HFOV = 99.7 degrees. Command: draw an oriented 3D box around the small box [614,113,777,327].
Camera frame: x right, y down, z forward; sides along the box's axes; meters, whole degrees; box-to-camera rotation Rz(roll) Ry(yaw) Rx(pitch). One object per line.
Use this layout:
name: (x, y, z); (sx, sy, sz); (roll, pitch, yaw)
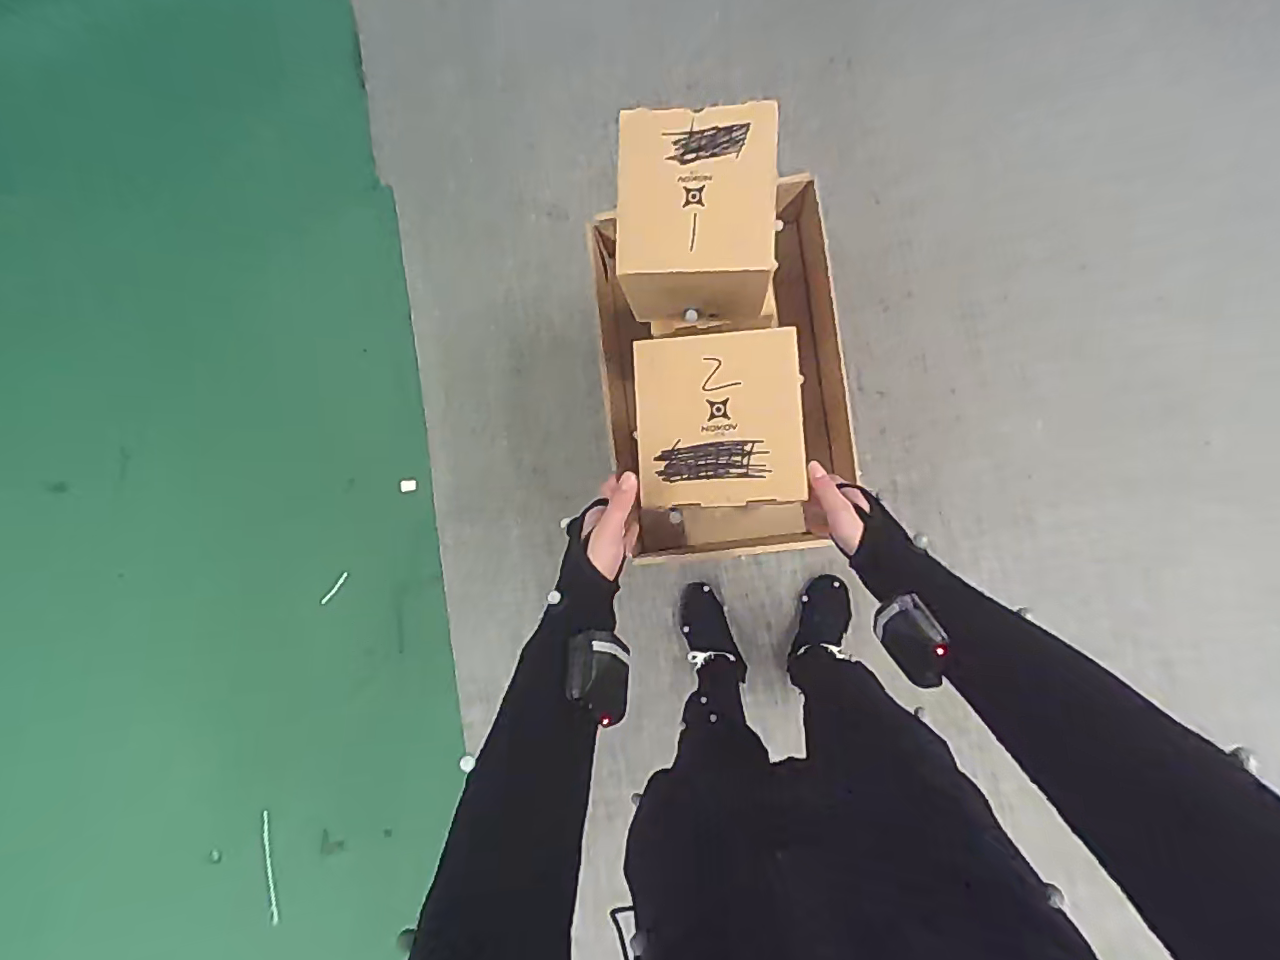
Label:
small box: (0.066, -0.294, 0.644); (0.168, 0.176, 0.179); (2, 90, 8)

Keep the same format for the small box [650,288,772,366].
small box: (0.094, -0.285, 0.806); (0.168, 0.176, 0.179); (-8, 88, 7)

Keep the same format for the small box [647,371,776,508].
small box: (0.104, -0.049, 0.788); (0.168, 0.176, 0.179); (-3, 85, 7)
